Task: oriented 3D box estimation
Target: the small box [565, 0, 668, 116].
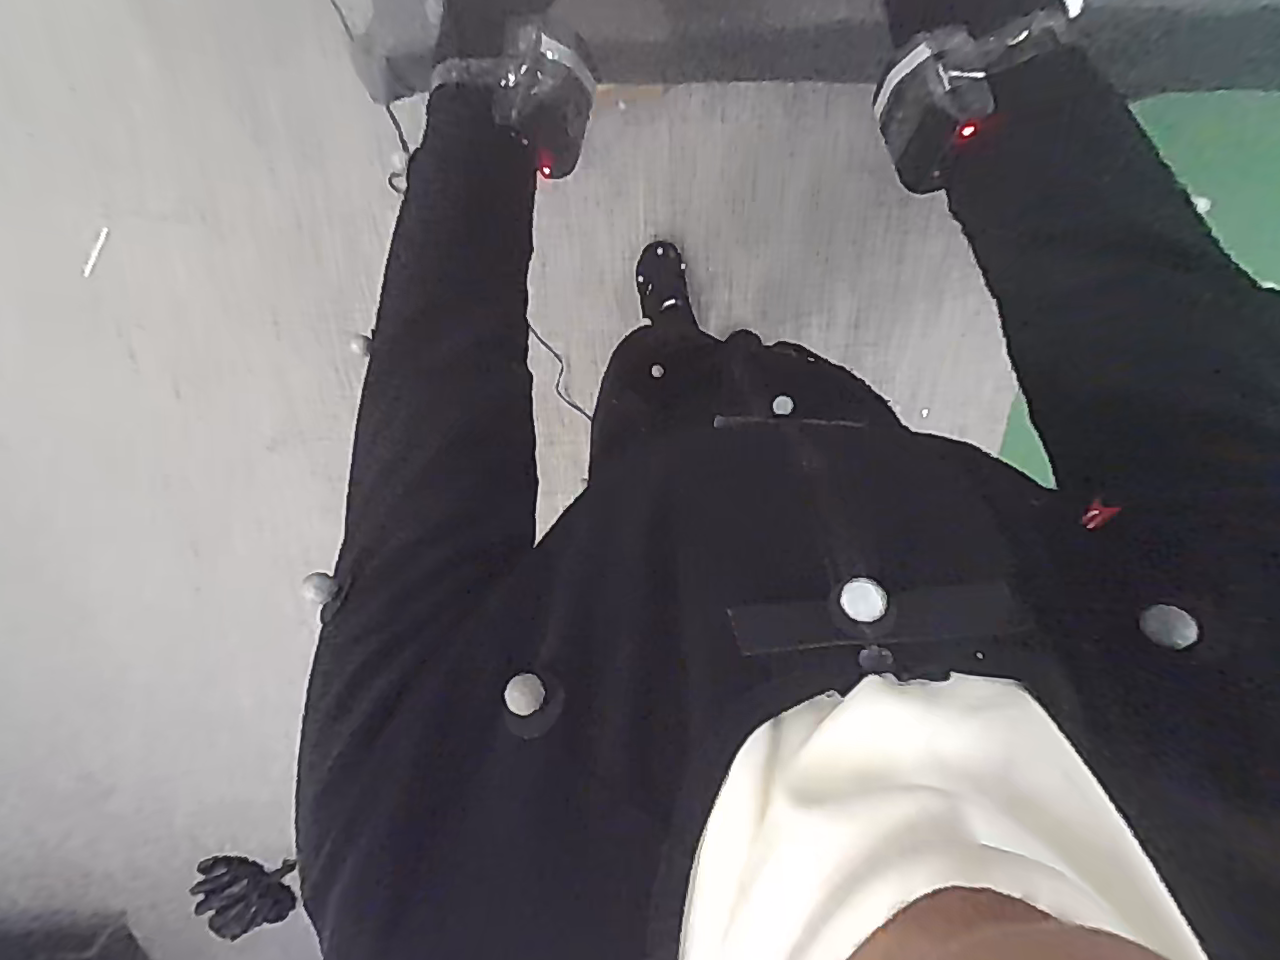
[{"bbox_3d":[-0.043,-0.825,1.032,0.168,0.176,0.179,-9,115,4],"label":"small box"}]
